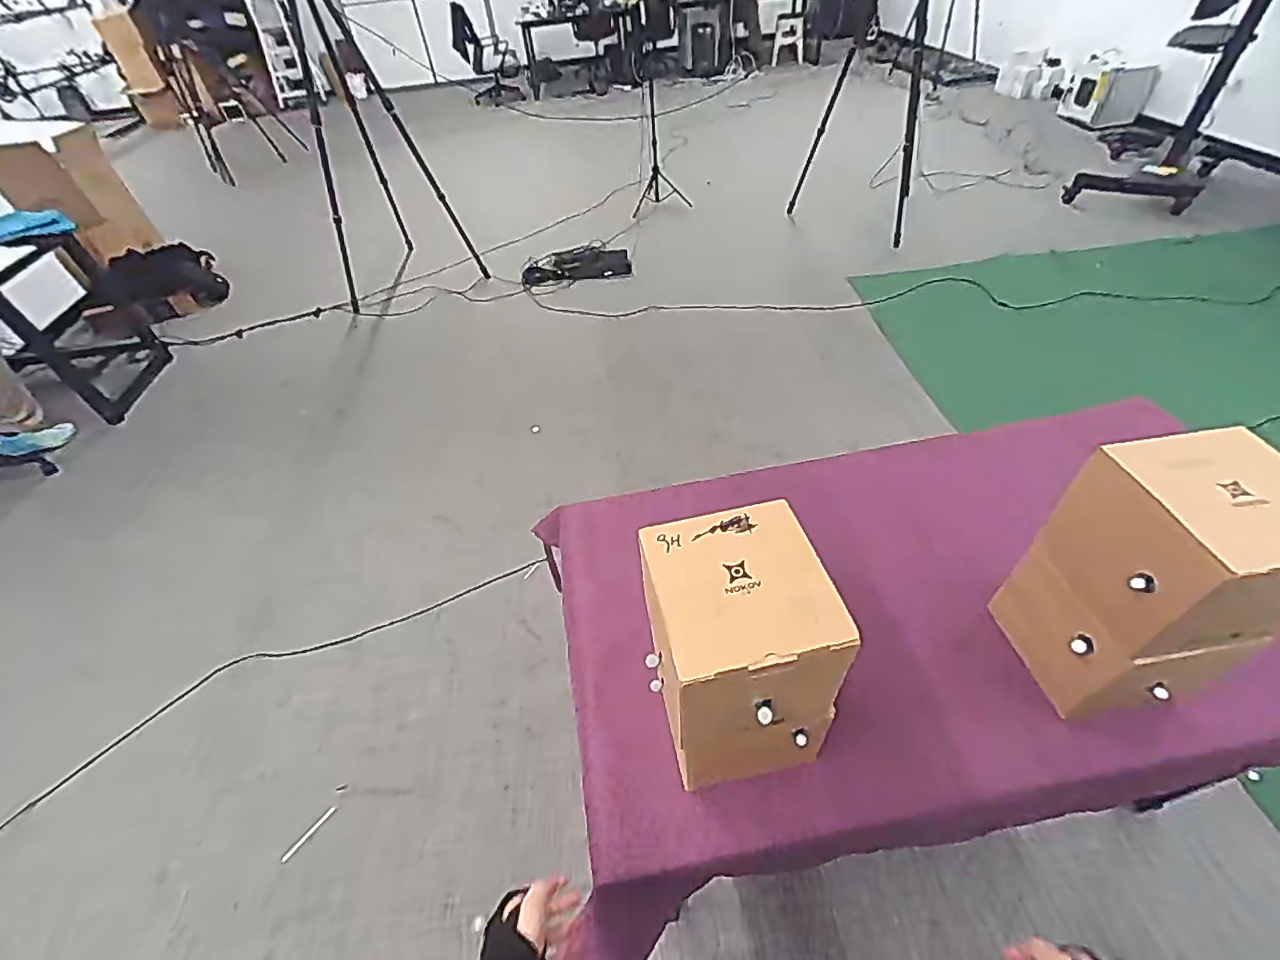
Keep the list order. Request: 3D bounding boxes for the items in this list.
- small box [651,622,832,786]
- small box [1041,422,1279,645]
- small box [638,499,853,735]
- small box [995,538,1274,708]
[{"bbox_3d":[0.120,0.267,0.693,0.179,0.176,0.168,-11,45,-4],"label":"small box"},{"bbox_3d":[0.599,0.064,0.592,0.168,0.176,0.179,-8,45,0],"label":"small box"},{"bbox_3d":[0.100,0.152,0.578,0.168,0.176,0.179,-11,46,-5],"label":"small box"},{"bbox_3d":[0.615,0.180,0.706,0.168,0.176,0.179,-9,46,-2],"label":"small box"}]
